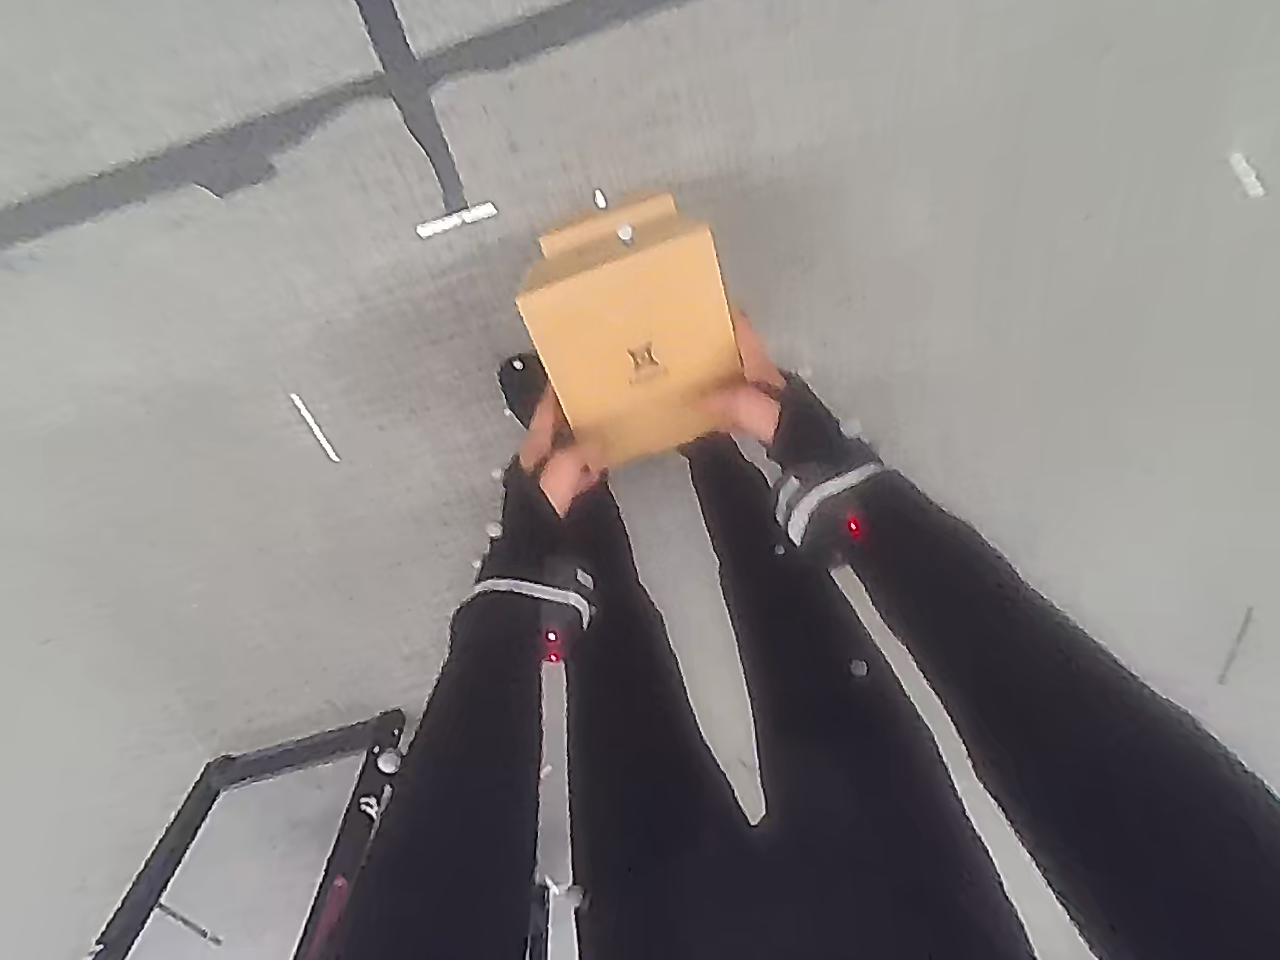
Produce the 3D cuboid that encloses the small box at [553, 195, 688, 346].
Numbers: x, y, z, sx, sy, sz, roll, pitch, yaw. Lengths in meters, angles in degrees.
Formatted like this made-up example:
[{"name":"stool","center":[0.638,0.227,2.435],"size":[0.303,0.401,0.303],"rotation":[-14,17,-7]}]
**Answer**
[{"name":"small box","center":[-0.035,-0.348,0.884],"size":[0.168,0.176,0.179],"rotation":[-19,121,5]}]
